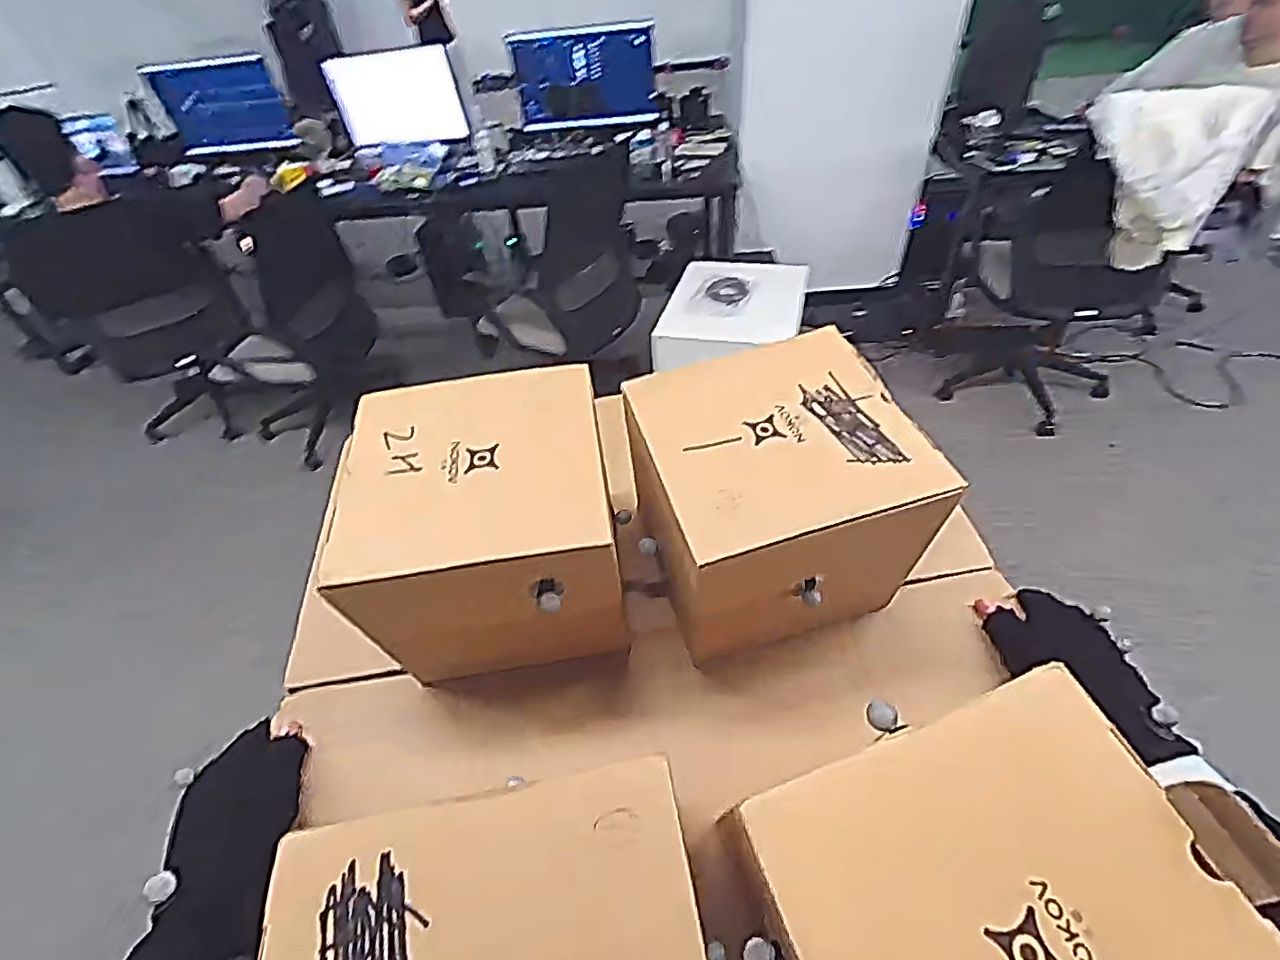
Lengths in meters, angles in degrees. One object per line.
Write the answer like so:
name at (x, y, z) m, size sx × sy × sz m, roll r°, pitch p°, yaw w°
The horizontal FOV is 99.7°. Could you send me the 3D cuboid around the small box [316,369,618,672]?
small box at (-0.113, 0.038, 0.435) m, size 0.179 × 0.176 × 0.168 m, roll -9°, pitch 51°, yaw -2°
